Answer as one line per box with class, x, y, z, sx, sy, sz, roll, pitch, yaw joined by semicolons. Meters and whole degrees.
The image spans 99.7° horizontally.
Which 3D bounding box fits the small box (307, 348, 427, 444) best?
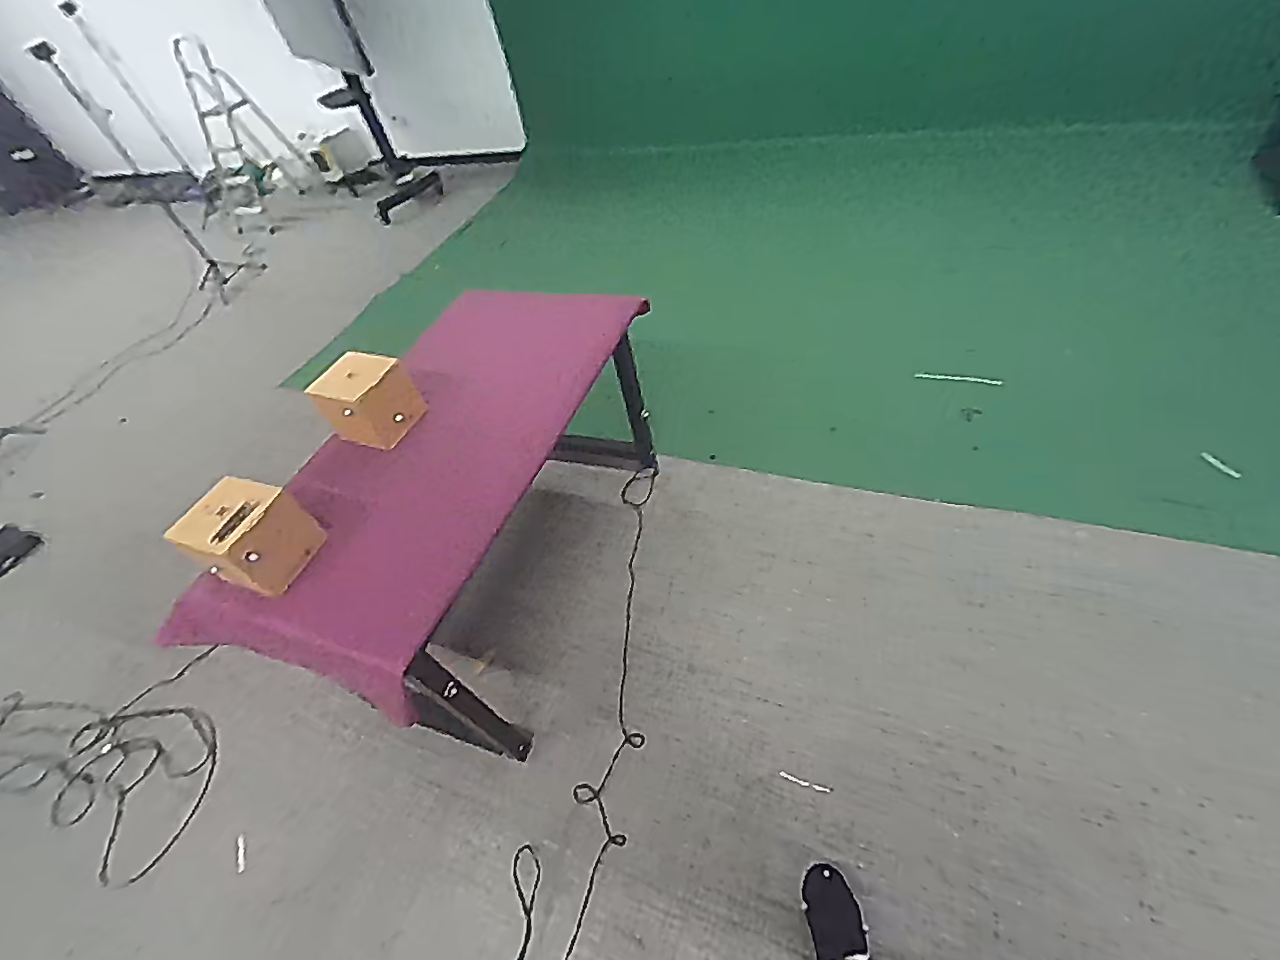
small box;-0.688;-0.213;1.382;0.179;0.176;0.168;13;54;20
